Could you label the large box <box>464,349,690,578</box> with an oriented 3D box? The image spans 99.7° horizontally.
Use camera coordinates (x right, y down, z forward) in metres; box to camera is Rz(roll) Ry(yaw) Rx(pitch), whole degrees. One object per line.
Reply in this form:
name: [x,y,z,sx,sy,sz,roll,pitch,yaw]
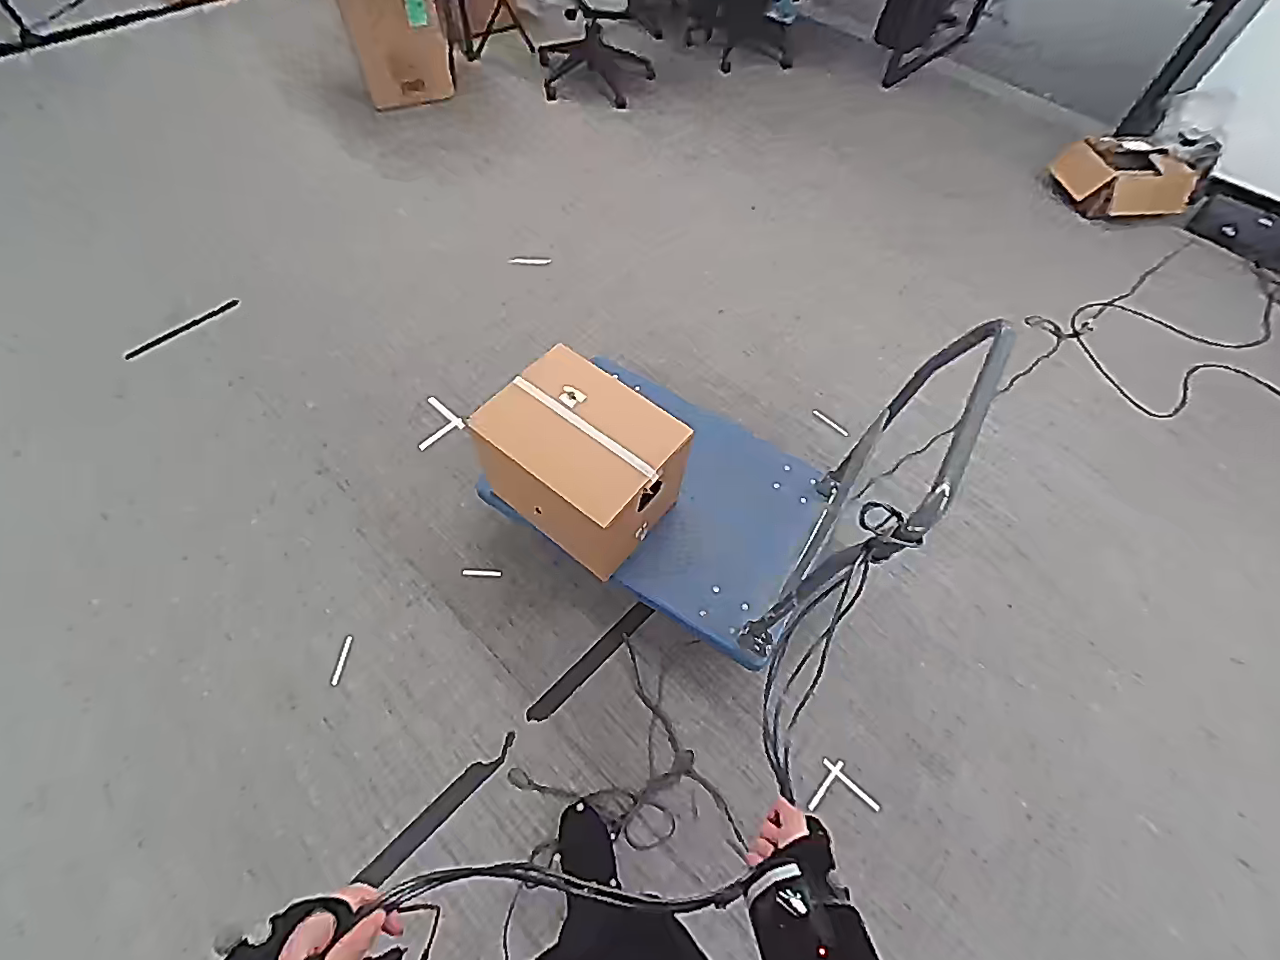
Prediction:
large box: [-0.140,-0.035,1.308,0.408,0.320,0.320,34,63,16]
